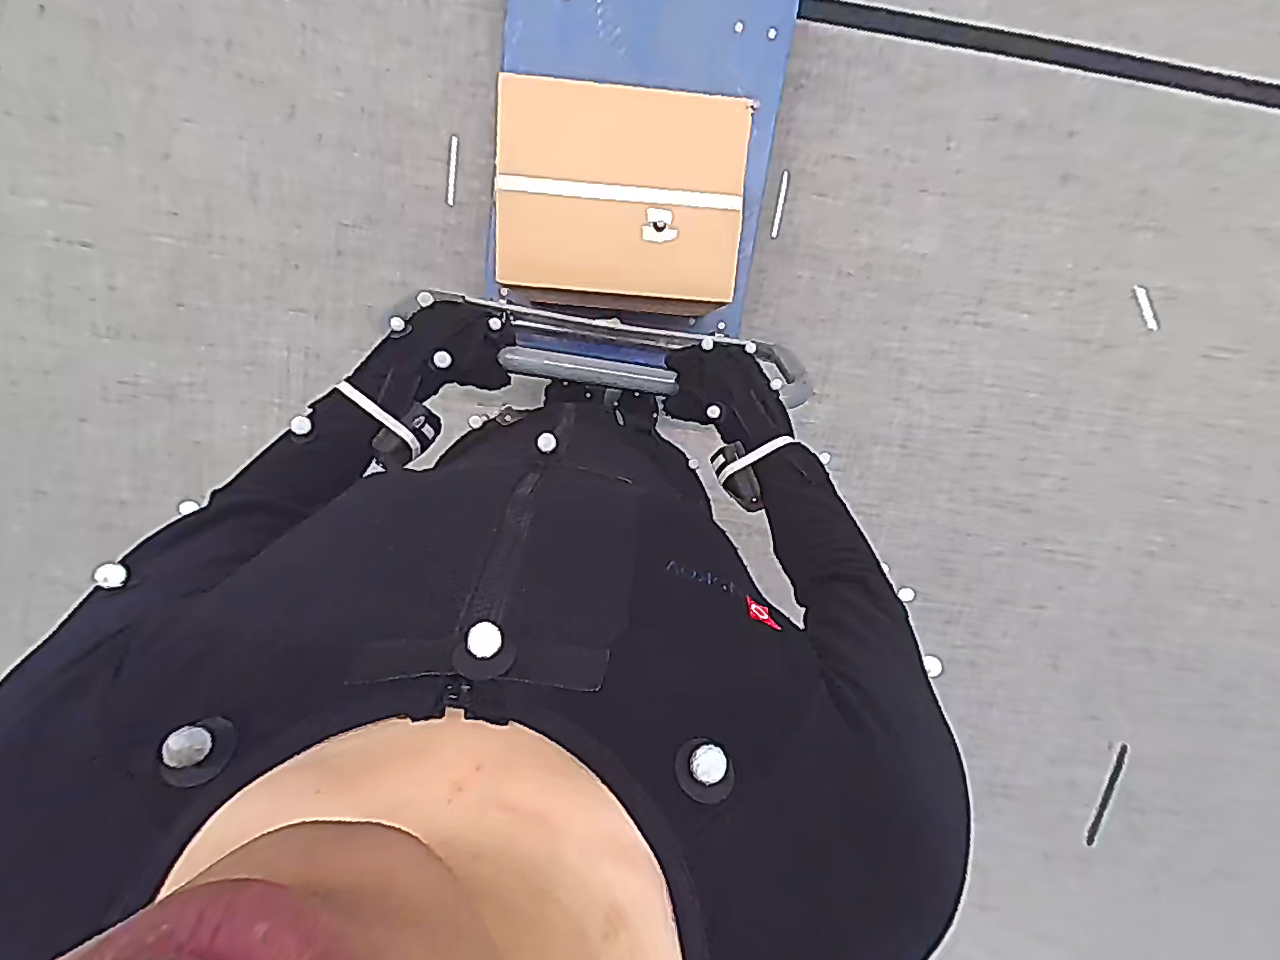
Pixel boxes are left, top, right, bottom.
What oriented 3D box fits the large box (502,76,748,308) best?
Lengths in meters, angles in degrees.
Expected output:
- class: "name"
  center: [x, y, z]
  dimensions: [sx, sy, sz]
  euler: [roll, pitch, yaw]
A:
- class: "large box"
  center: [-0.038, -0.515, 1.044]
  dimensions: [0.408, 0.320, 0.320]
  euler: [3, 103, -4]
